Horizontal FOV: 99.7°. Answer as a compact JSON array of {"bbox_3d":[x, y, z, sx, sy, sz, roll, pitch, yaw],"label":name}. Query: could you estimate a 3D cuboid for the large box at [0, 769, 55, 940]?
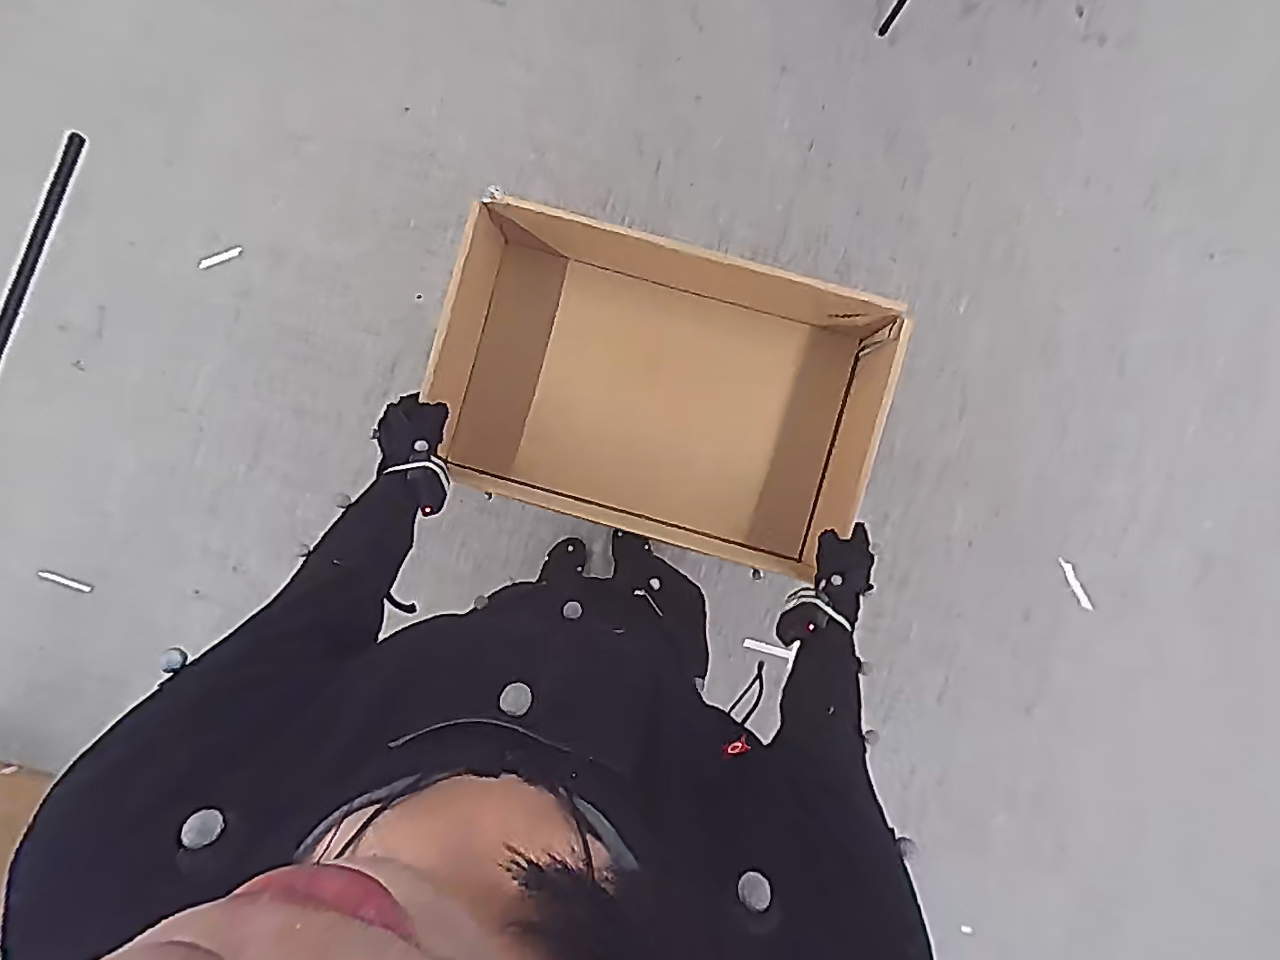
[{"bbox_3d":[-1.786,0.983,1.324,0.320,0.320,0.408,14,87,0],"label":"large box"}]
